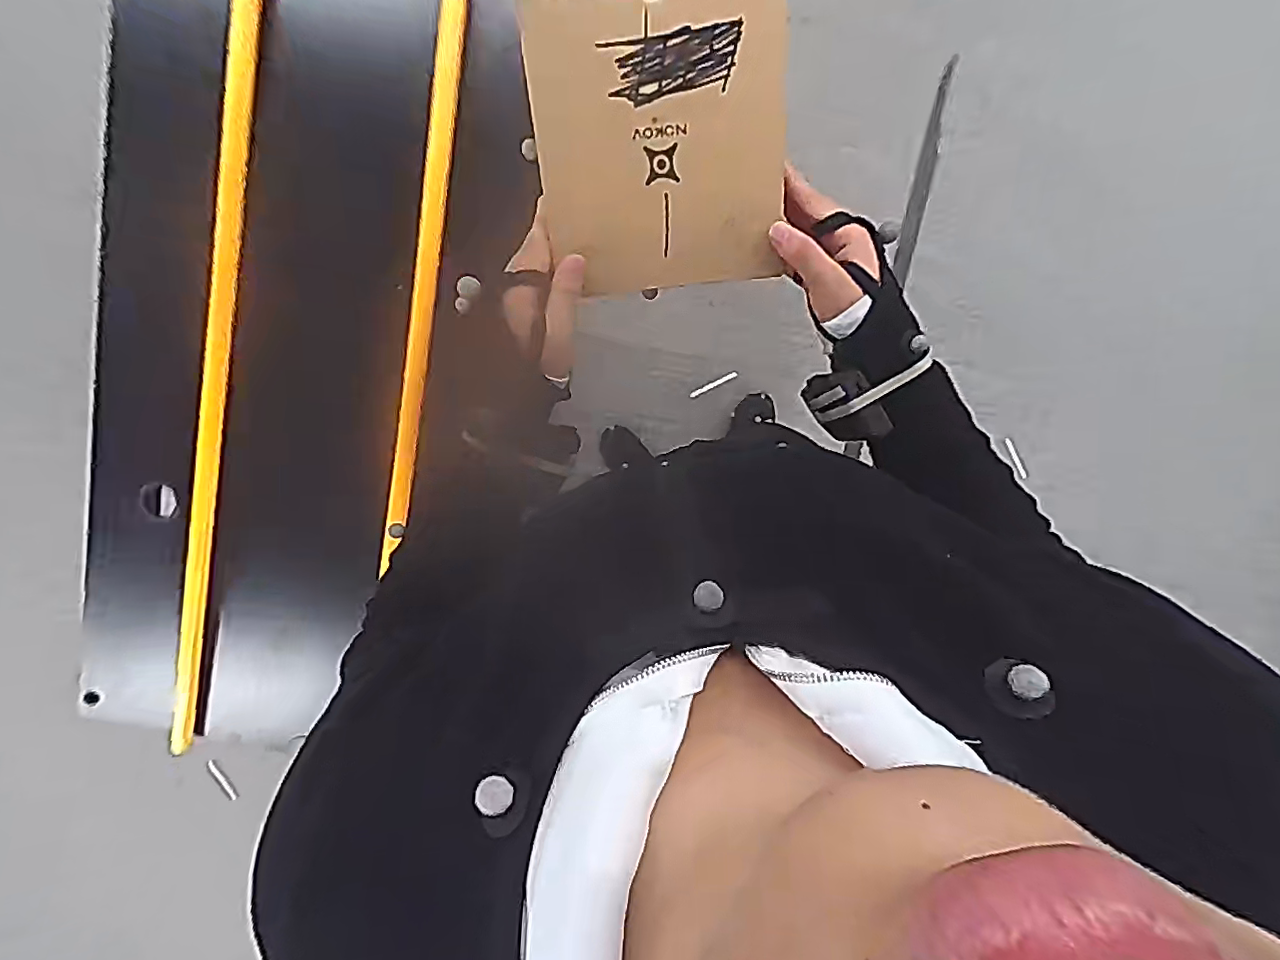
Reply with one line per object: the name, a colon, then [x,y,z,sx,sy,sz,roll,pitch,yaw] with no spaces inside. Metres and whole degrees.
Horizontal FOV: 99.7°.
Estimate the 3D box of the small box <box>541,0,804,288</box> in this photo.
small box: [0.019,-0.255,0.431,0.168,0.176,0.179,-5,114,-2]
